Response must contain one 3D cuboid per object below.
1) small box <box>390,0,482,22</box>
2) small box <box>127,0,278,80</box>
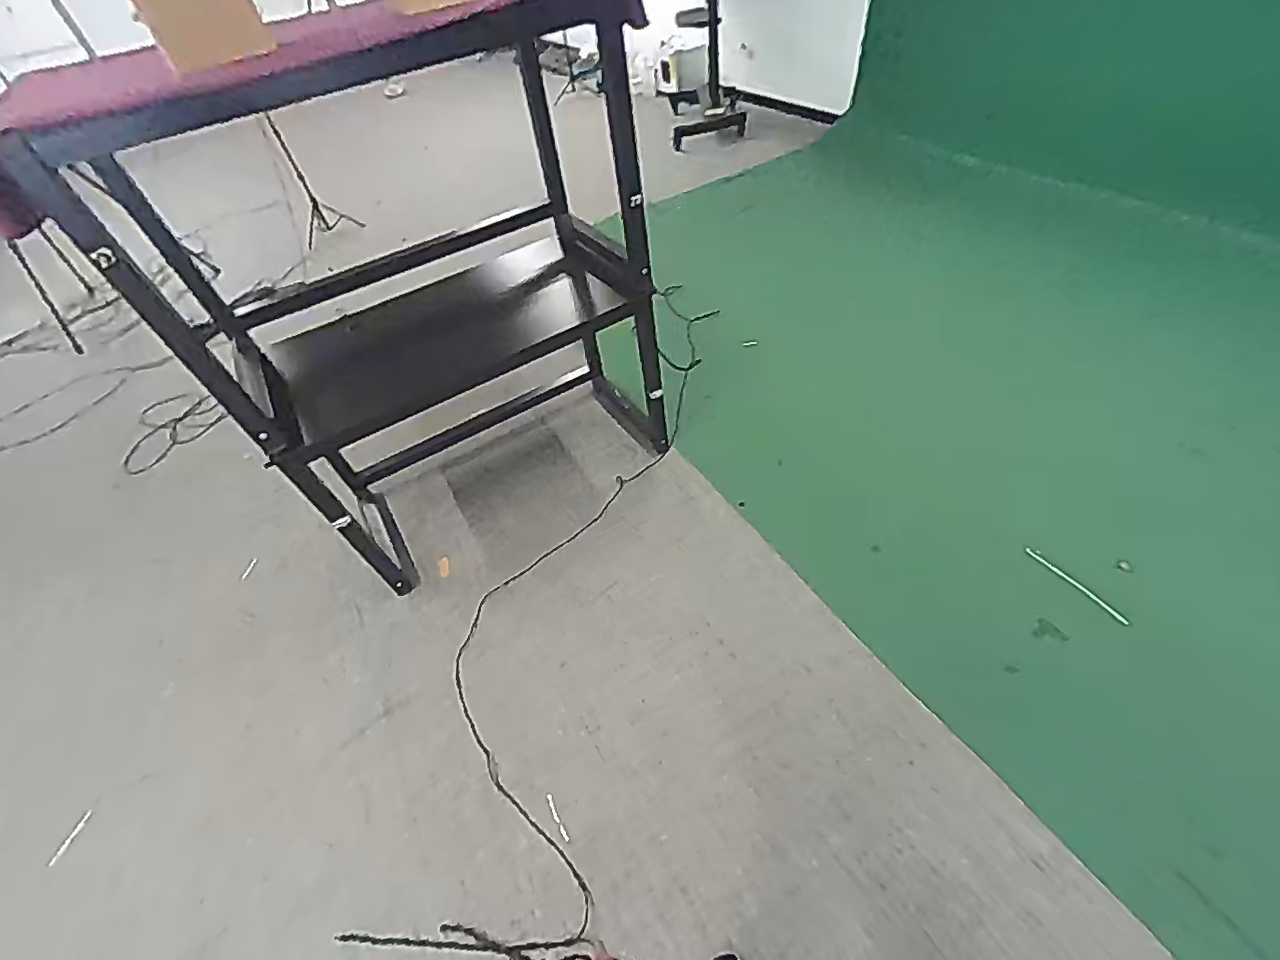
[{"bbox_3d":[-0.448,-1.075,1.120,0.168,0.176,0.179,-27,49,-14],"label":"small box"},{"bbox_3d":[-0.789,-0.834,0.956,0.179,0.176,0.168,-32,51,-19],"label":"small box"}]
